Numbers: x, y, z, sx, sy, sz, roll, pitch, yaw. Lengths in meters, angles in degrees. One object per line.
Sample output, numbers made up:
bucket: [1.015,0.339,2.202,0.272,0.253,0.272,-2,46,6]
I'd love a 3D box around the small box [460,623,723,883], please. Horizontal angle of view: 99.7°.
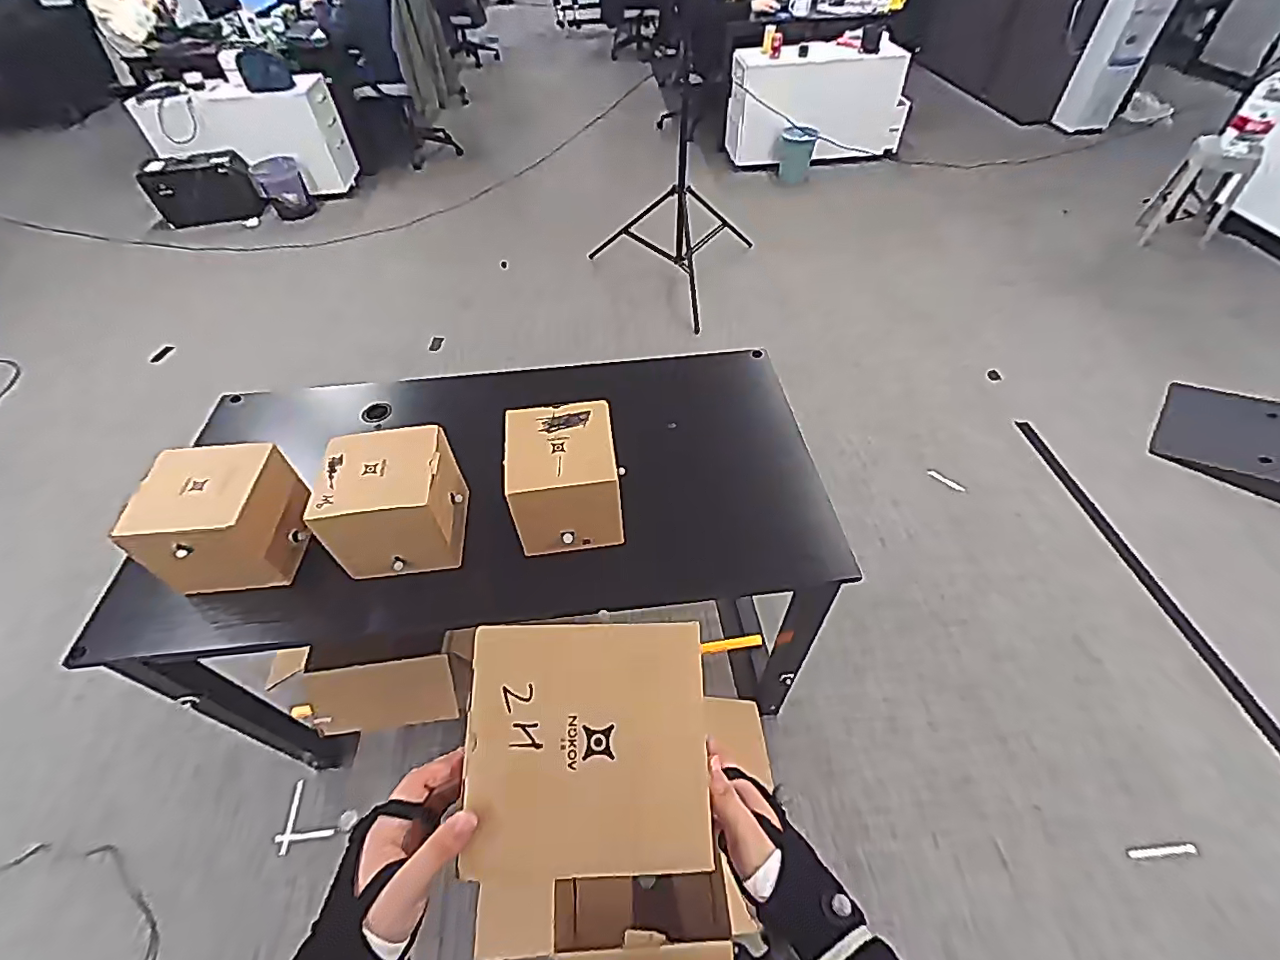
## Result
small box: [-0.036,0.214,0.457,0.179,0.176,0.168,-1,68,-2]

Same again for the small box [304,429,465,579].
small box: [-0.388,0.040,0.863,0.179,0.176,0.168,-6,49,-5]

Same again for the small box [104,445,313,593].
small box: [-0.650,0.065,0.850,0.179,0.176,0.168,-4,50,-2]

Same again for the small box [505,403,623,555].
small box: [-0.120,-0.001,0.887,0.168,0.176,0.179,-7,50,-4]
